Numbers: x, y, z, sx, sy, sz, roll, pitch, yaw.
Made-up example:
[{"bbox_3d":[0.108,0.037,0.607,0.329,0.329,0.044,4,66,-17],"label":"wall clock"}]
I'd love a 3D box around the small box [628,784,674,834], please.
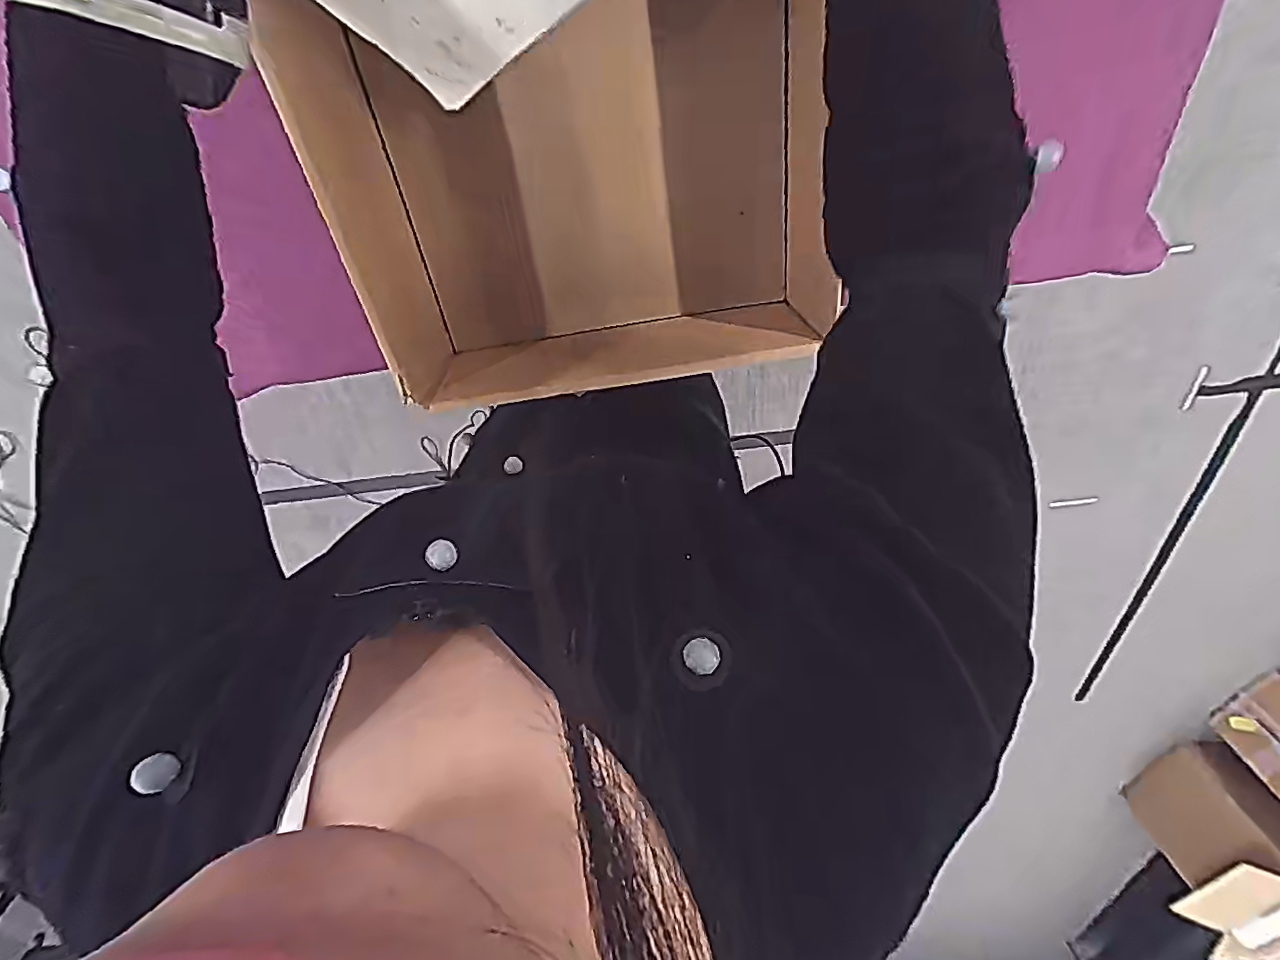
[{"bbox_3d":[0.039,1.293,2.080,0.168,0.176,0.179,-3,125,-1],"label":"small box"}]

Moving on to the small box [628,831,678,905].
[{"bbox_3d":[0.047,1.393,1.950,0.168,0.176,0.179,-5,123,1],"label":"small box"}]
